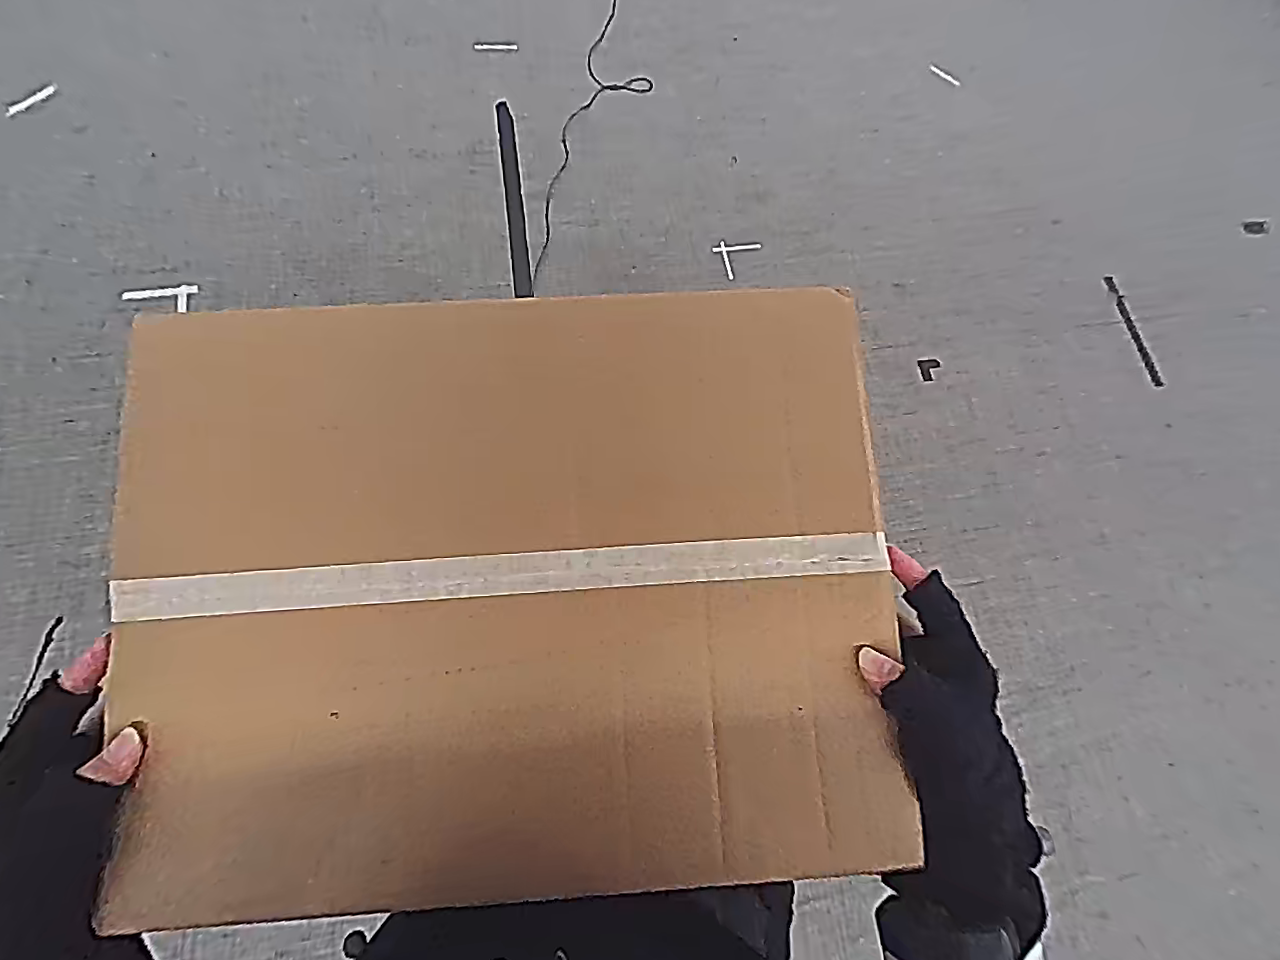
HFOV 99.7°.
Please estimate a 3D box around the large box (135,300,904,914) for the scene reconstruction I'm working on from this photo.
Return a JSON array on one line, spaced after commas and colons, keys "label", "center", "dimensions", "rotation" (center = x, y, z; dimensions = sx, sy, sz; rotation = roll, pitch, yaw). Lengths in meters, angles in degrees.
[{"label": "large box", "center": [-0.072, 0.077, 0.447], "dimensions": [0.408, 0.320, 0.320], "rotation": [-3, 82, -2]}]
